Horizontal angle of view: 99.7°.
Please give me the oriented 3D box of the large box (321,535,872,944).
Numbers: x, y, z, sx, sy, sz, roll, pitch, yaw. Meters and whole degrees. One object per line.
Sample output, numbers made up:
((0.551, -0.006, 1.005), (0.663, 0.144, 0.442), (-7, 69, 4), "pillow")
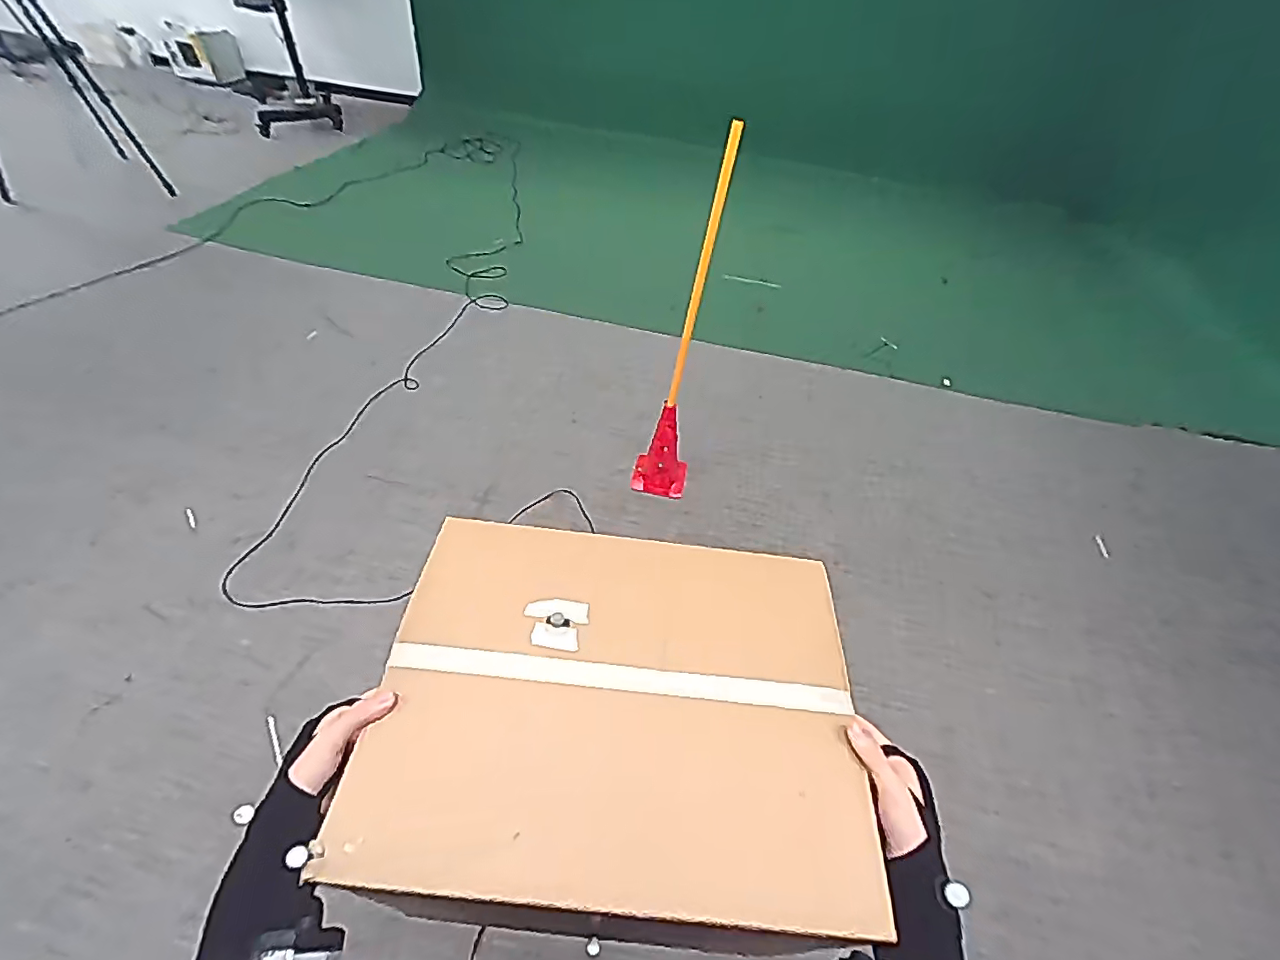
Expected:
((-0.029, 0.290, 0.592), (0.408, 0.320, 0.320), (7, 47, 0), "large box")
